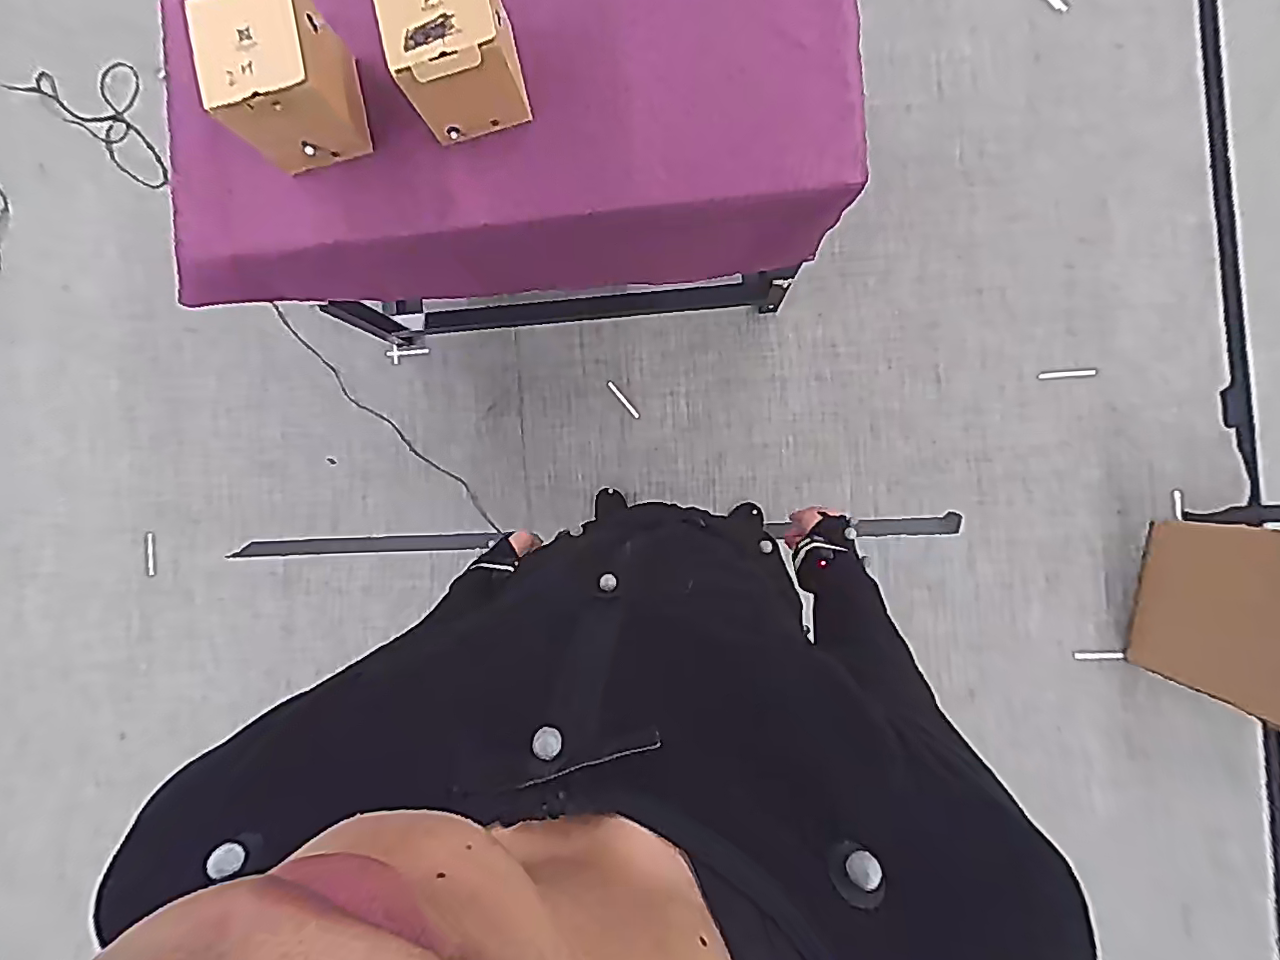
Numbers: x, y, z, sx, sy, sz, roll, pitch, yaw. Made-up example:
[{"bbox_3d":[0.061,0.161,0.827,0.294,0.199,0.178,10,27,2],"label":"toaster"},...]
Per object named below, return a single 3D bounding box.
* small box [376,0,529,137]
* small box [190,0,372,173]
[{"bbox_3d":[-0.288,-0.680,0.853,0.168,0.176,0.179,-13,88,4],"label":"small box"},{"bbox_3d":[-0.567,-0.643,0.875,0.168,0.176,0.179,-12,89,5],"label":"small box"}]
